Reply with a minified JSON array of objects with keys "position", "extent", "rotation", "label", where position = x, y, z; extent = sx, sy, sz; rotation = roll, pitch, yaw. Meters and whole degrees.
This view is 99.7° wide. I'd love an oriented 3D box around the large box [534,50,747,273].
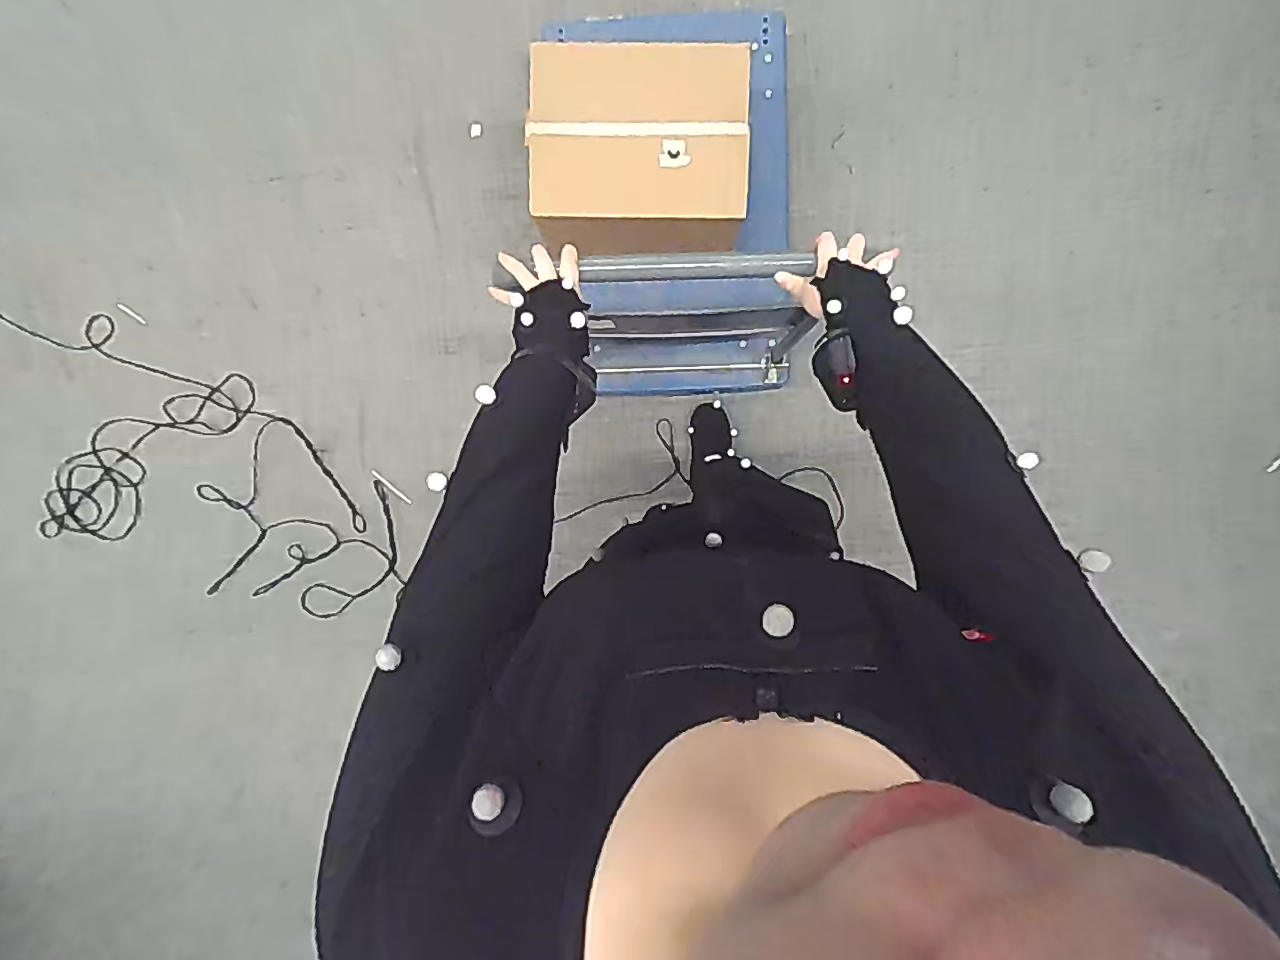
[{"position":[0.000,-0.653,1.161],"extent":[0.408,0.320,0.320],"rotation":[1,93,1],"label":"large box"}]
